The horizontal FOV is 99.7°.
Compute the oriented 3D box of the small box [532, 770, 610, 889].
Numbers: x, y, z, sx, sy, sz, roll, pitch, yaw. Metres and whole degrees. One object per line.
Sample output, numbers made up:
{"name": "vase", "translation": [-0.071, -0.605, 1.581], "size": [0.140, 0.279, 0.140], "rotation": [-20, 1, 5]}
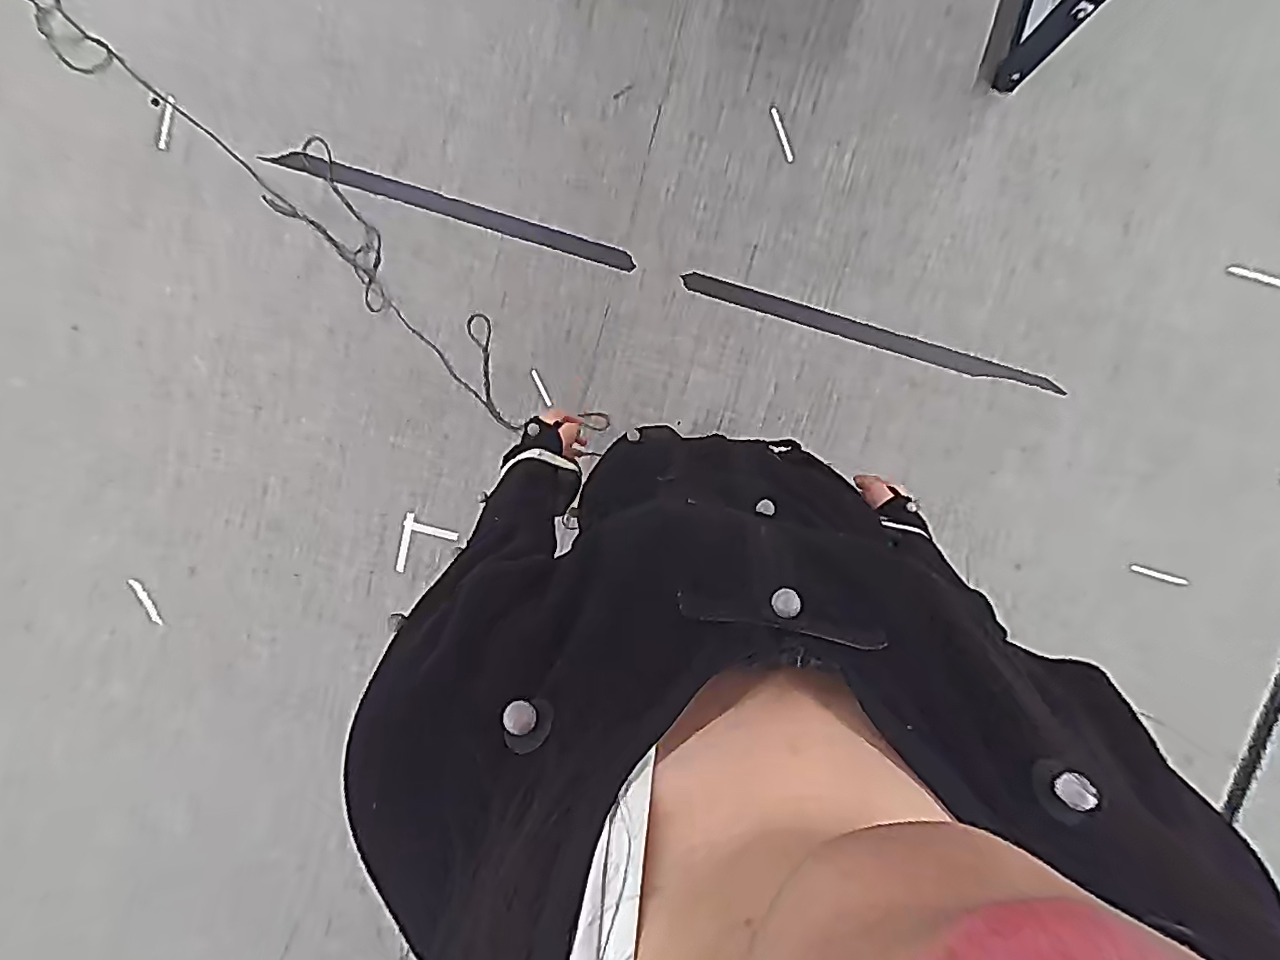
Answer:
{"name": "small box", "translation": [-0.160, 0.838, 1.306], "size": [0.168, 0.176, 0.179], "rotation": [3, 95, 0]}
